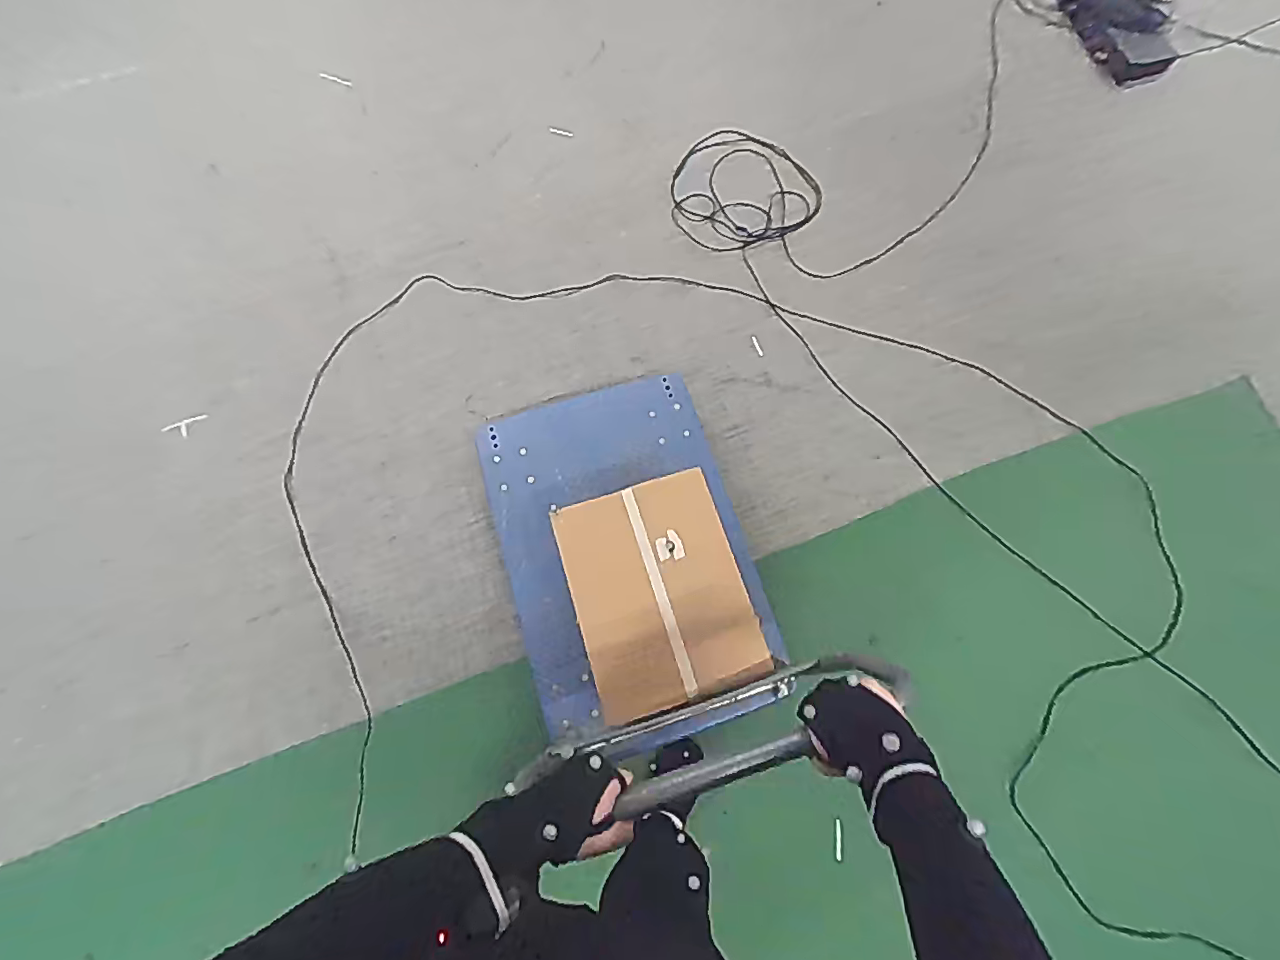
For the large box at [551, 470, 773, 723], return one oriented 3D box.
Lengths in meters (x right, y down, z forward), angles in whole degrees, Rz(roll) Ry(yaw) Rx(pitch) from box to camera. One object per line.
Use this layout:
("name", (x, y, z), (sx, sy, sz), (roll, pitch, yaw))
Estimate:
("large box", (0.033, 0.248, 1.150), (0.320, 0.320, 0.408), (-17, 72, -7))
